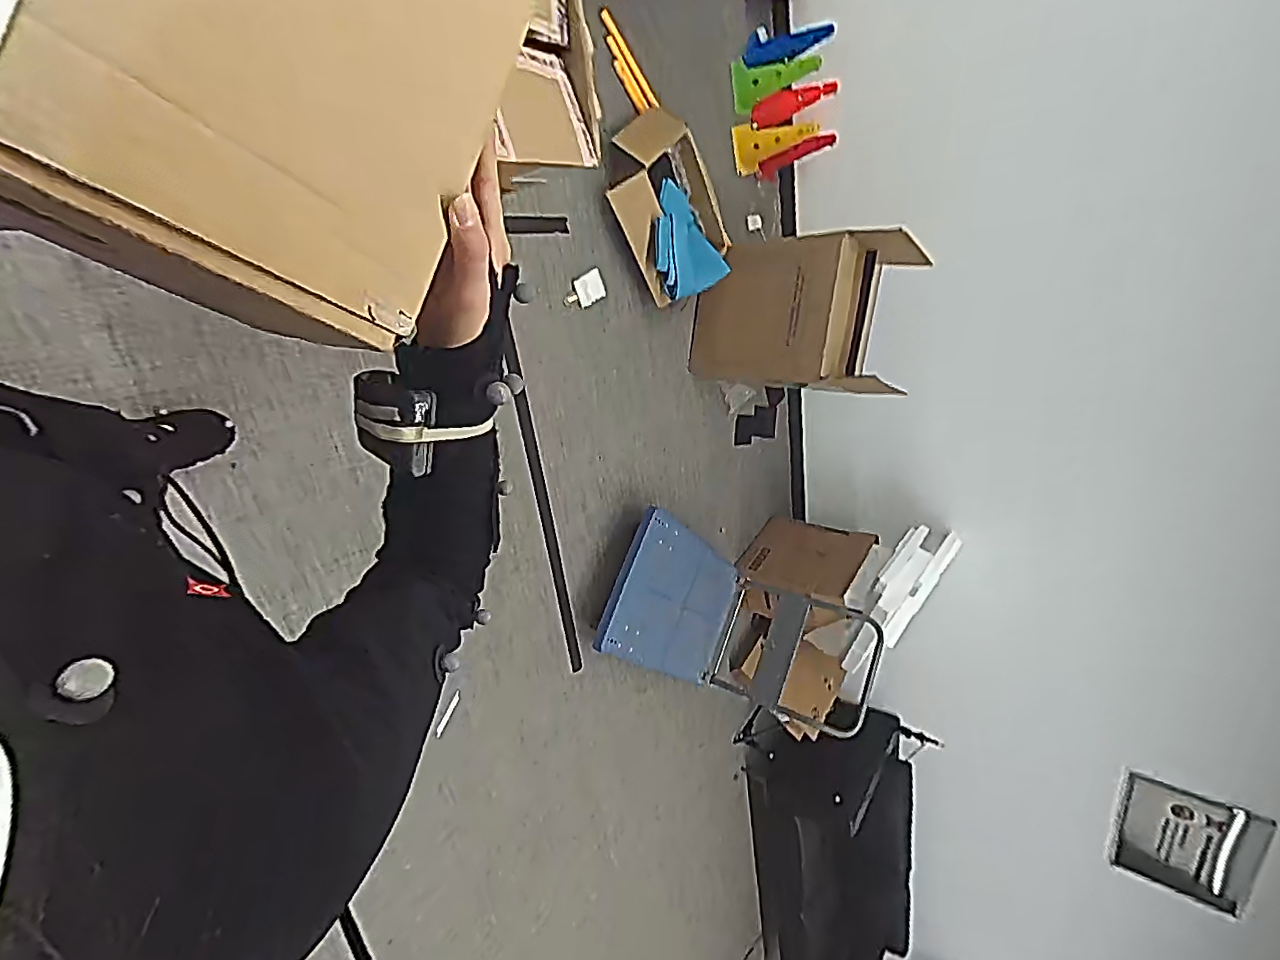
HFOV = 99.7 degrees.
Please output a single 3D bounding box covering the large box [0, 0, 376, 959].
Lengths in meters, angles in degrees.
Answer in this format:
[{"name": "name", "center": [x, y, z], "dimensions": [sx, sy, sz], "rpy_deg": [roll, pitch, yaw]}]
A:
[{"name": "large box", "center": [-0.365, -0.036, 0.217], "dimensions": [0.320, 0.320, 0.408], "rpy_deg": [-96, -175, -50]}]
